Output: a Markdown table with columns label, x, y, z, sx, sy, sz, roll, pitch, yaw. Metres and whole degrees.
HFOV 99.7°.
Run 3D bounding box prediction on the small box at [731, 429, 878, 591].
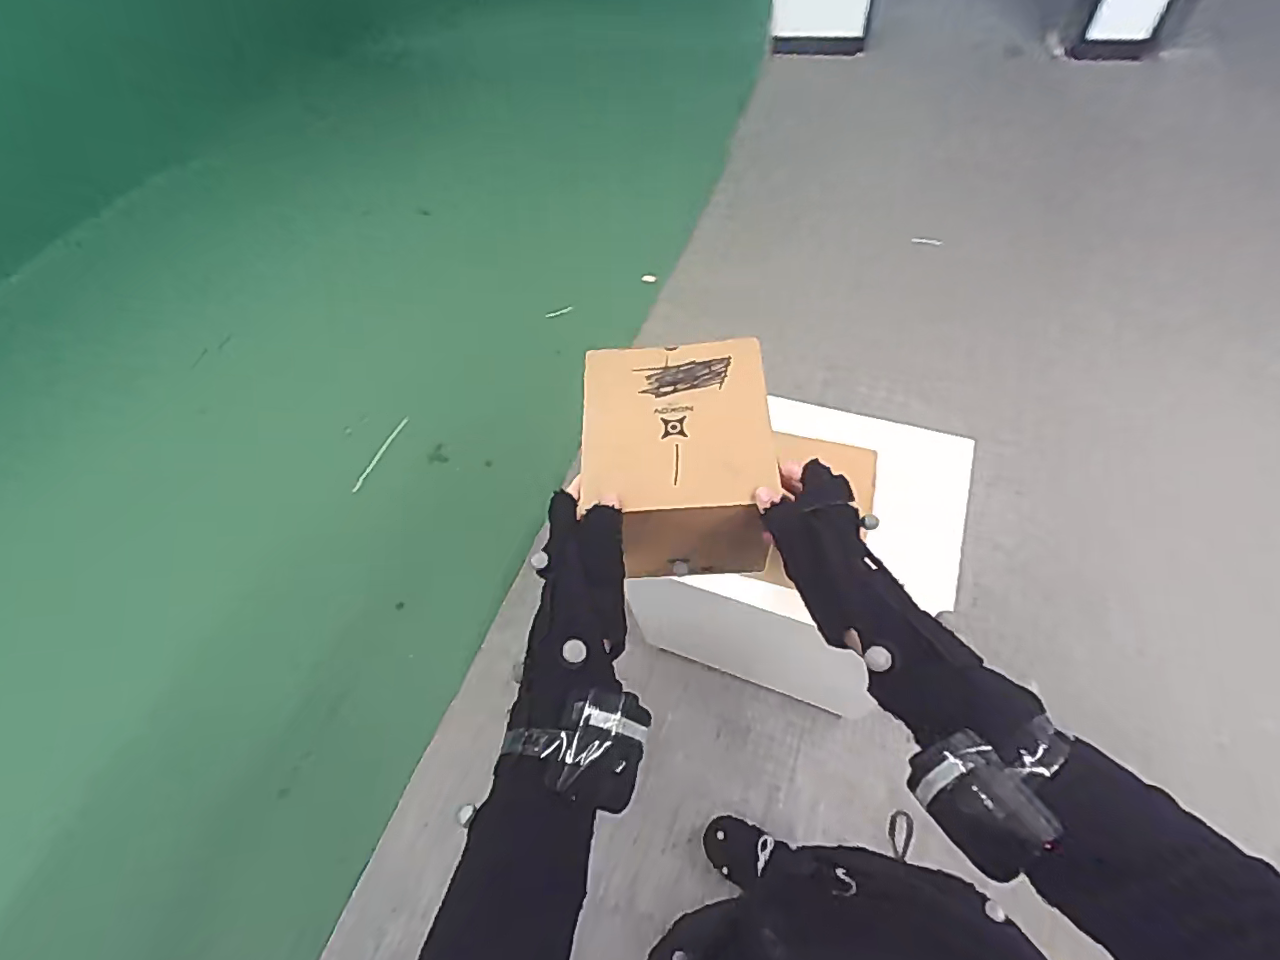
| label | x | y | z | sx | sy | sz | roll | pitch | yaw |
| --- | --- | --- | --- | --- | --- | --- | --- | --- | --- |
| small box | 0.226 | 0.046 | 0.783 | 0.179 | 0.176 | 0.168 | 12 | 61 | 17 |

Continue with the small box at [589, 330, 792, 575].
| label | x | y | z | sx | sy | sz | roll | pitch | yaw |
| --- | --- | --- | --- | --- | --- | --- | --- | --- | --- |
| small box | 0.046 | -0.020 | 0.541 | 0.168 | 0.176 | 0.179 | -6 | 60 | 5 |
